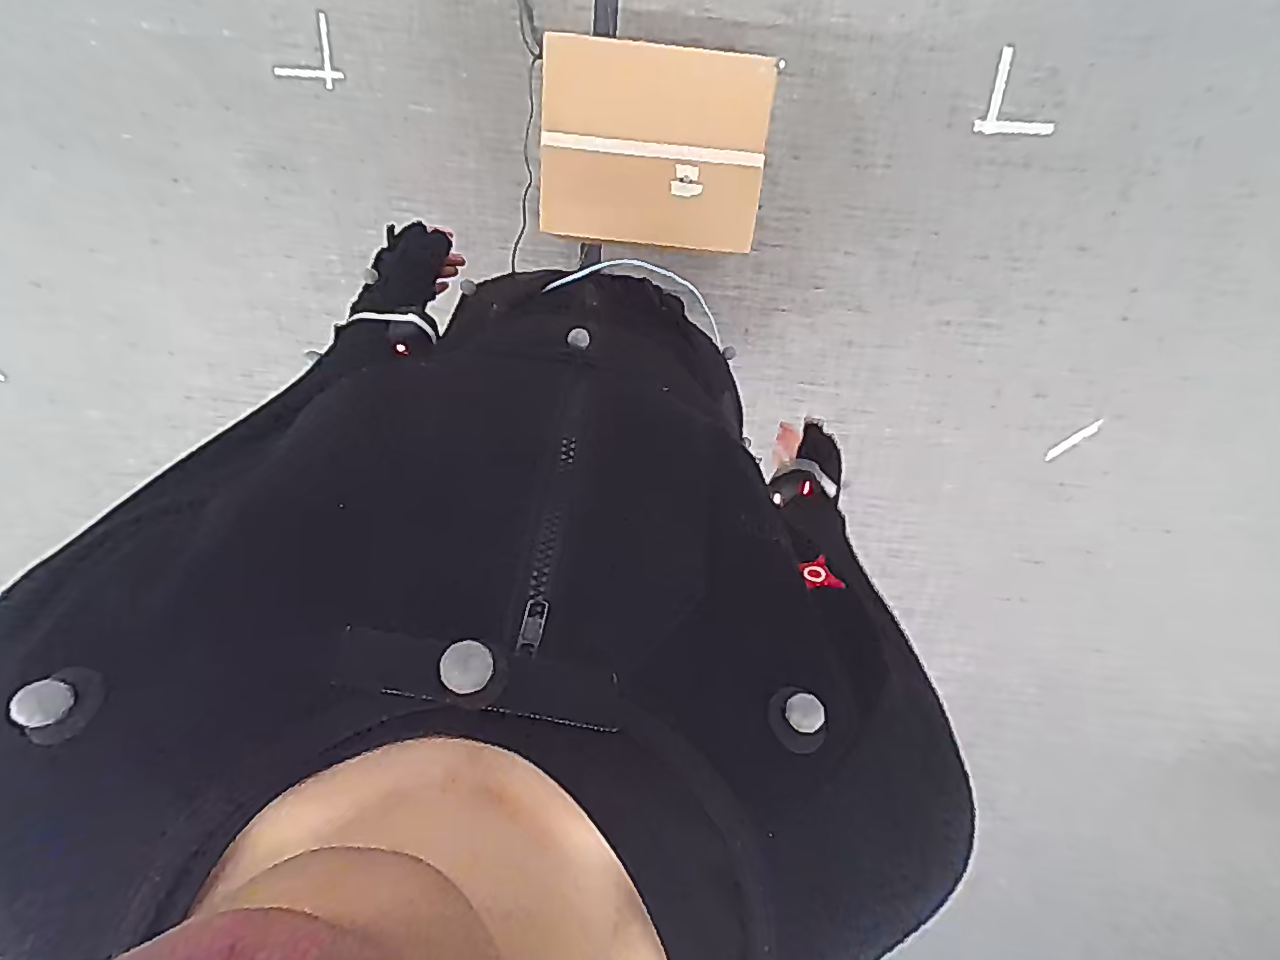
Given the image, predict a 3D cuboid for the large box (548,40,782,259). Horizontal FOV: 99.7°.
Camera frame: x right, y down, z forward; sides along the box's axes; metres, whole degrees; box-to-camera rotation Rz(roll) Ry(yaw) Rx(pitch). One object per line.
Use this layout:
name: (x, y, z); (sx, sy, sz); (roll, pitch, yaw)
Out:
large box: (0.033, -0.645, 1.121); (0.408, 0.320, 0.320); (6, 112, -3)
